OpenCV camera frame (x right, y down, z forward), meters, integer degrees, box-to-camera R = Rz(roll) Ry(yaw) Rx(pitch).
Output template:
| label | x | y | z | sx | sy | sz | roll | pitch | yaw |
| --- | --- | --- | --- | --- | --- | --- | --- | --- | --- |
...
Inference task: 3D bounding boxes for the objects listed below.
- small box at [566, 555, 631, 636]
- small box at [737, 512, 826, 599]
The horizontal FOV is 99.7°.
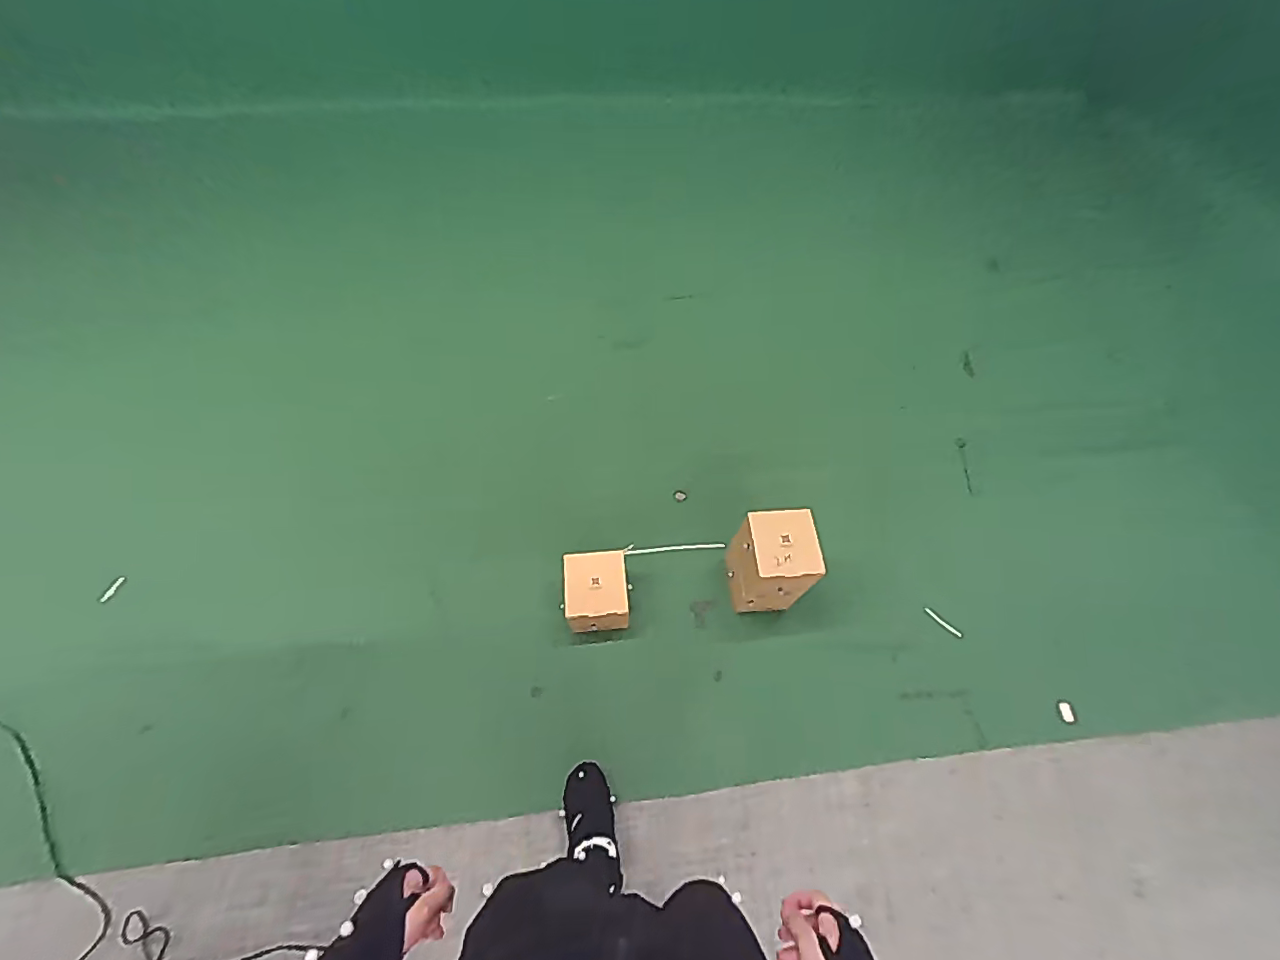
| label | x | y | z | sx | sy | sz | roll | pitch | yaw |
| --- | --- | --- | --- | --- | --- | --- | --- | --- | --- |
| small box | -0.117 | 0.323 | 1.505 | 0.168 | 0.176 | 0.179 | -5 | 63 | -5 |
| small box | 0.358 | 0.199 | 1.404 | 0.168 | 0.176 | 0.179 | -3 | 62 | -4 |
